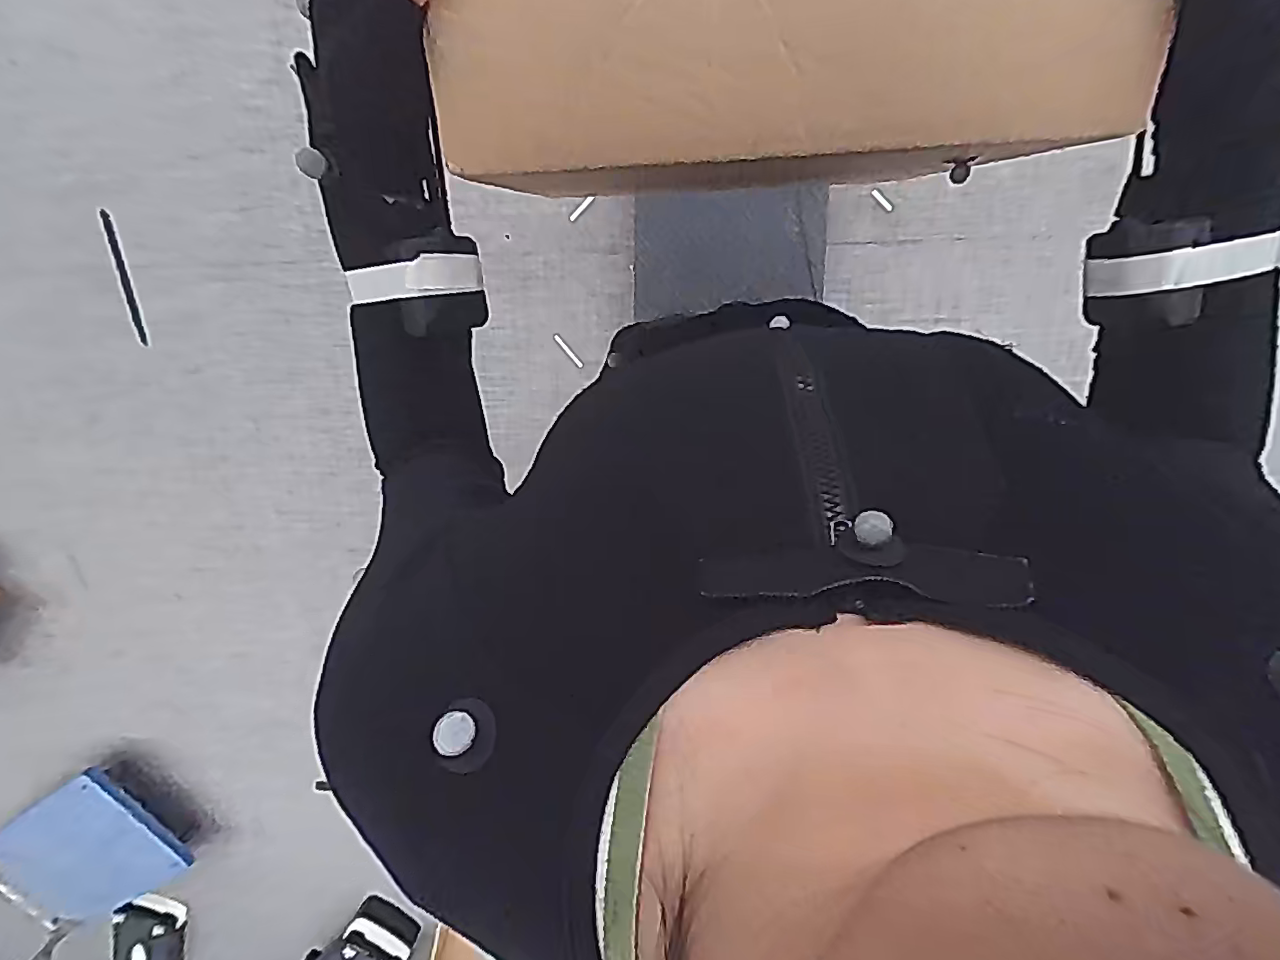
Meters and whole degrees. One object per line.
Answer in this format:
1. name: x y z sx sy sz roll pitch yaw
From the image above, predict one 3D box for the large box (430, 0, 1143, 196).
1. large box: 0.080 -0.401 0.402 0.408 0.320 0.320 -2 115 3
